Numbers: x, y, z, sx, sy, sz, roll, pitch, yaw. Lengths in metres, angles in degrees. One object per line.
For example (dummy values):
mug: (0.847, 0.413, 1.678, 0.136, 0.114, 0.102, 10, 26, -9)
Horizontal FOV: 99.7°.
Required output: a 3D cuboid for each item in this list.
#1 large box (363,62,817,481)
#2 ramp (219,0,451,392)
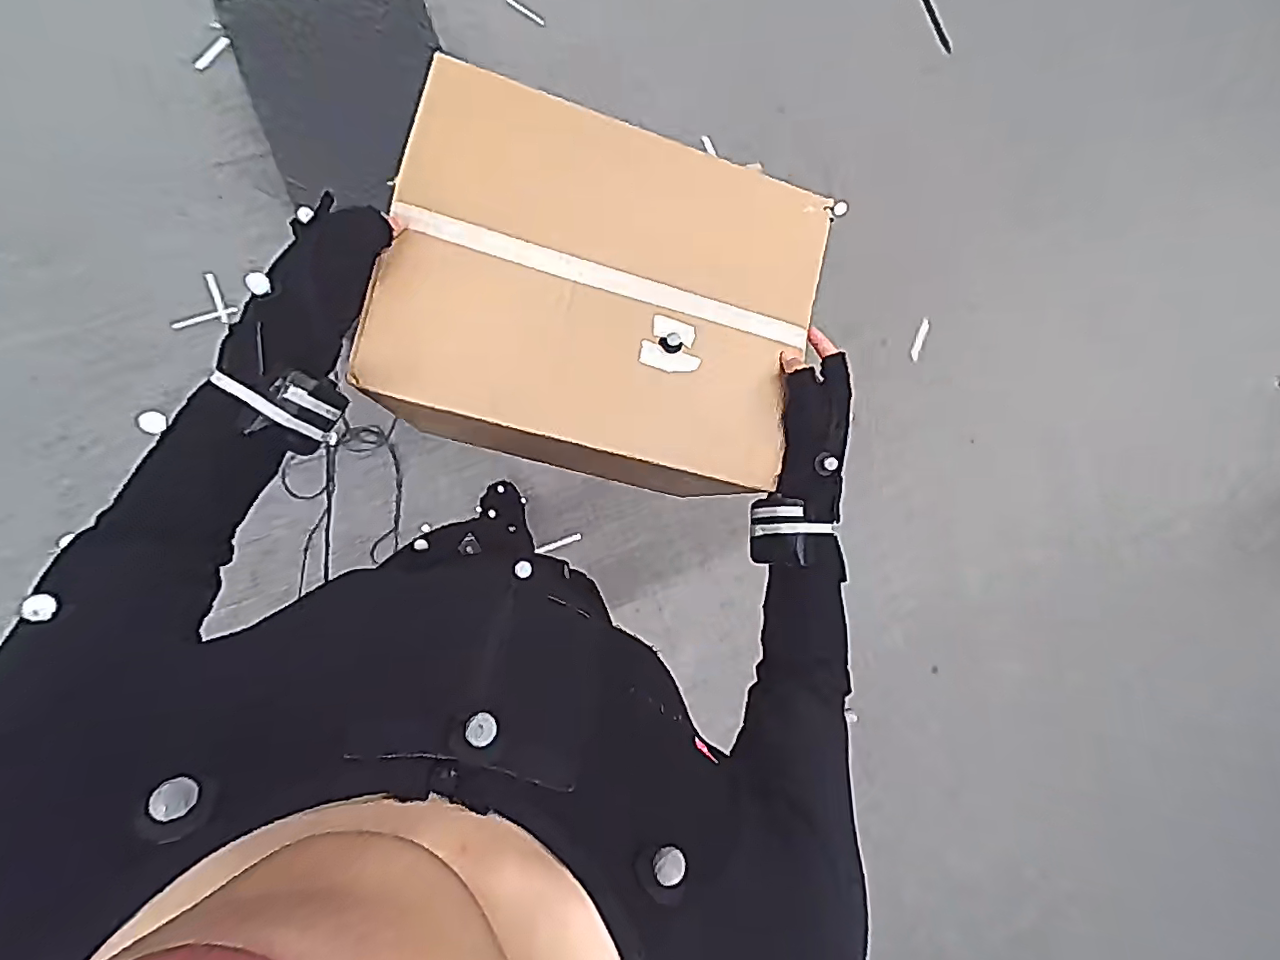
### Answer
large box: (-0.060, -0.194, 0.669, 0.408, 0.320, 0.320, 13, 85, -11)
ramp: (-0.637, -0.781, 1.427, 0.509, 0.206, 0.991, -23, 88, -13)
